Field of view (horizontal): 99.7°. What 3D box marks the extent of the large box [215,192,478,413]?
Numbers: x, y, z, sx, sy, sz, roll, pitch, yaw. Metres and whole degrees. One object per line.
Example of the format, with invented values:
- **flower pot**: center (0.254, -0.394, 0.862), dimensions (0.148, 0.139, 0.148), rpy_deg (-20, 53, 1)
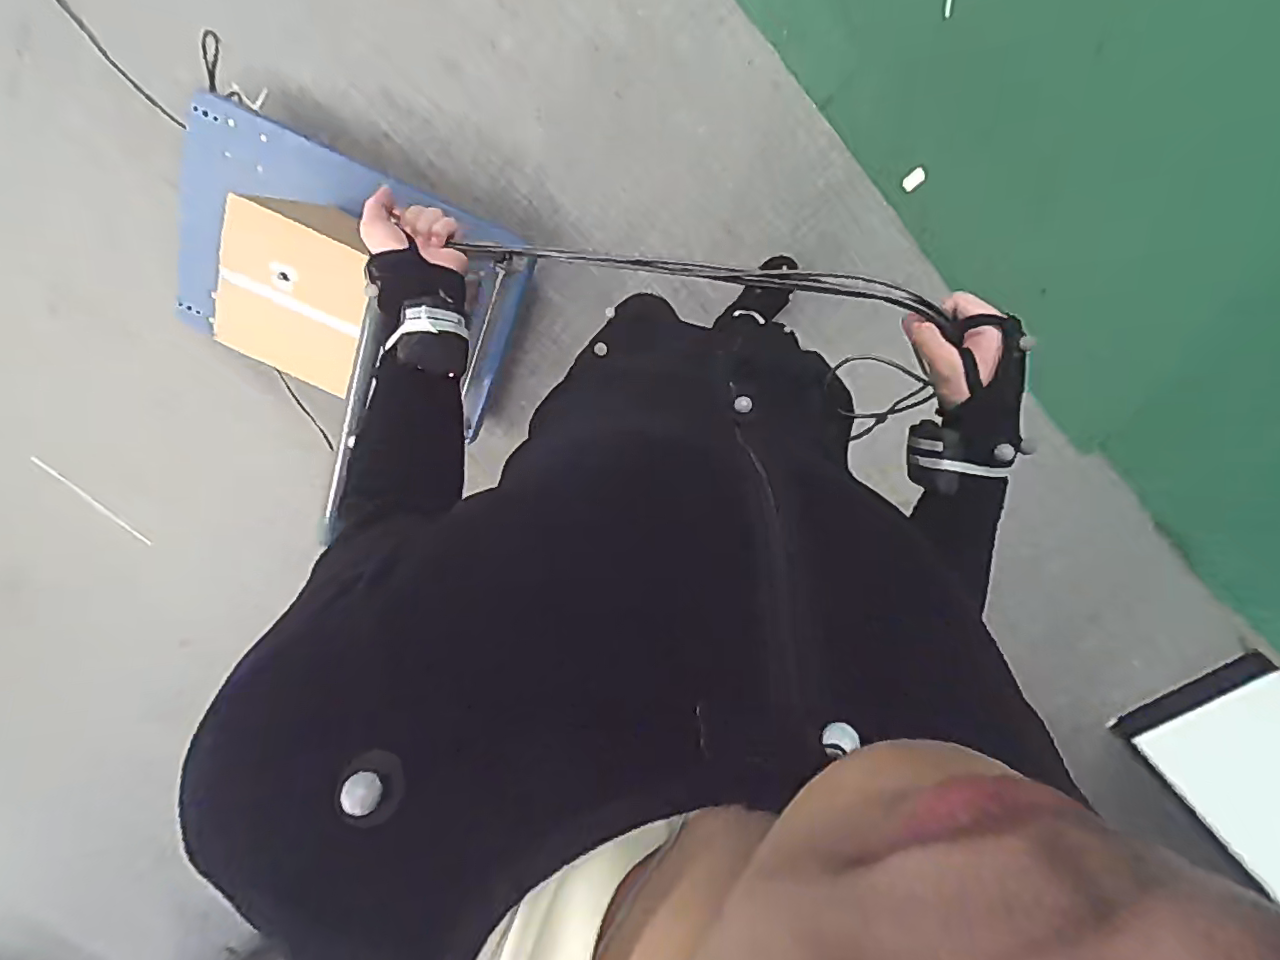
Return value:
- **large box**: center (-0.649, -0.404, 1.240), dimensions (0.408, 0.320, 0.320), rpy_deg (25, 112, -3)
